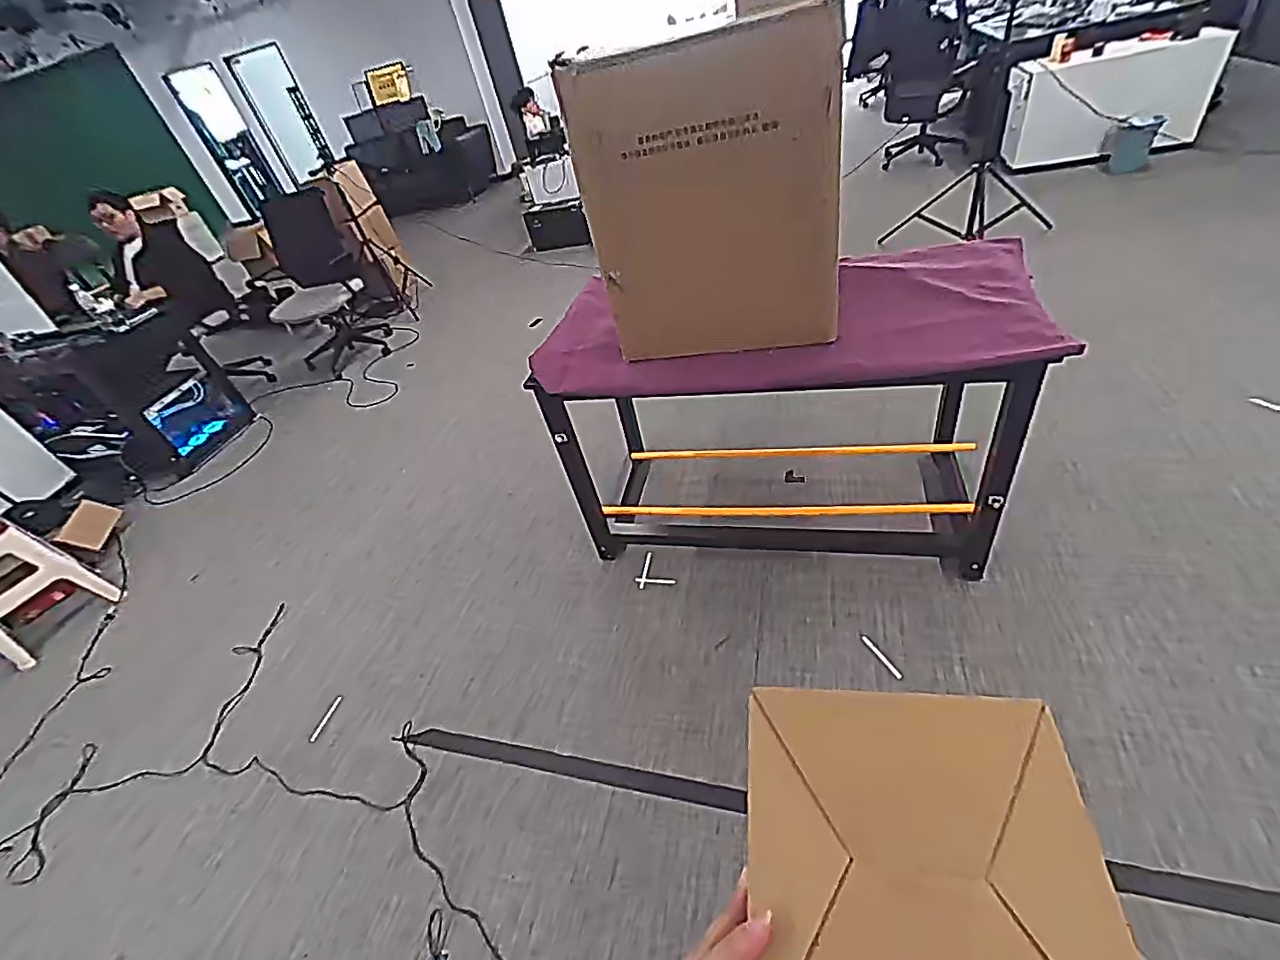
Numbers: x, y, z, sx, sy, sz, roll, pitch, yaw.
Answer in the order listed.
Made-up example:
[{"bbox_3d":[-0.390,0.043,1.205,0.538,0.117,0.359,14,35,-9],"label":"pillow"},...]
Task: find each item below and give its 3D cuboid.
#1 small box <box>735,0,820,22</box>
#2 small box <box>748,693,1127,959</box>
[{"bbox_3d":[0.272,-1.026,1.060,0.168,0.176,0.179,-1,42,19],"label":"small box"},{"bbox_3d":[0.155,0.251,0.328,0.168,0.176,0.179,-3,46,15],"label":"small box"}]
